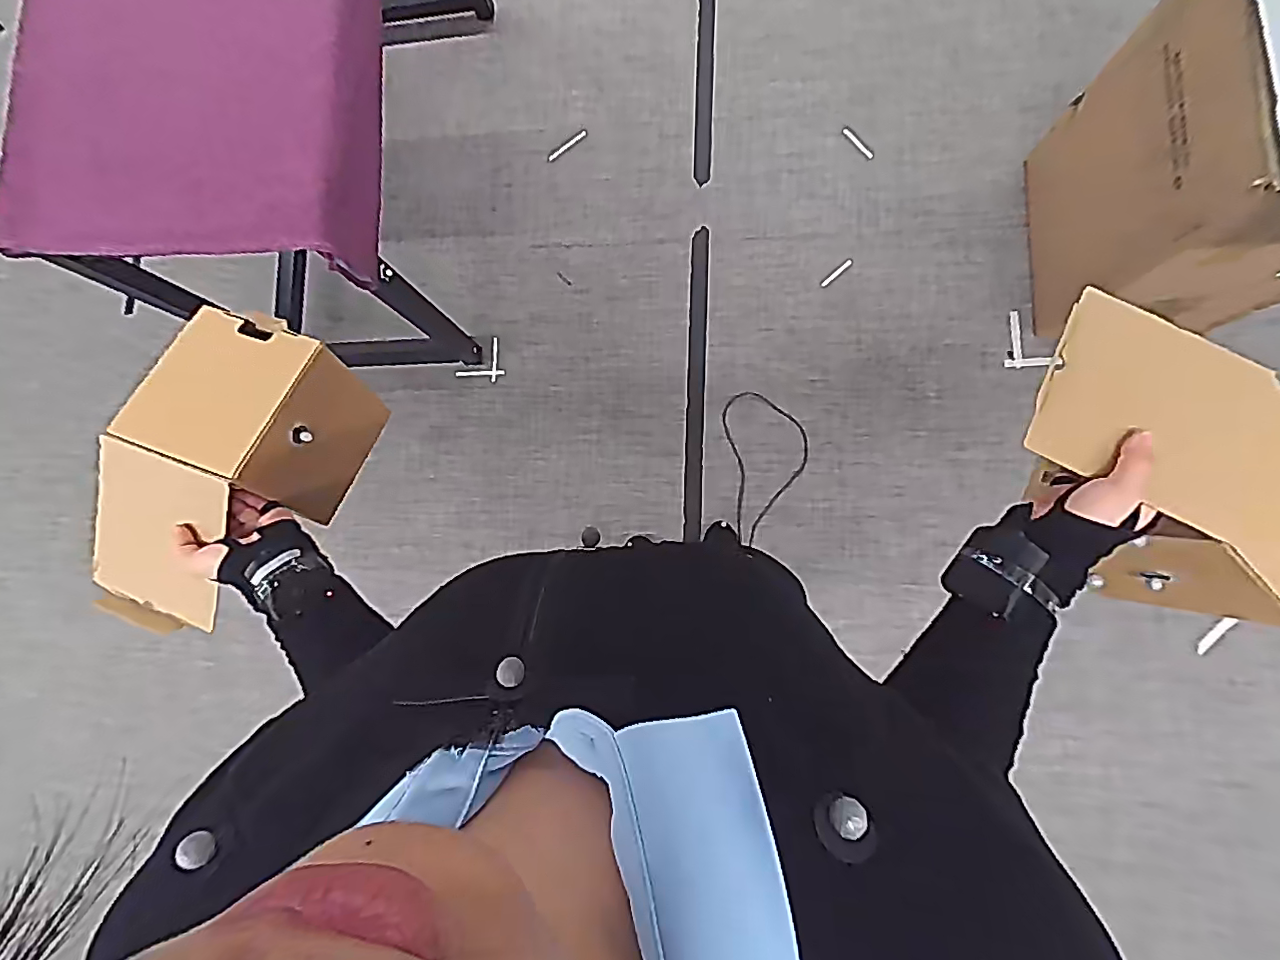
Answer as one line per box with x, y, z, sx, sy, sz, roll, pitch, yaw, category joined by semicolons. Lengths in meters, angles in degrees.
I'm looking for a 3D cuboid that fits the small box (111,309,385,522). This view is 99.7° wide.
-0.448;-0.068;0.655;0.168;0.176;0.179;18;70;9;small box
